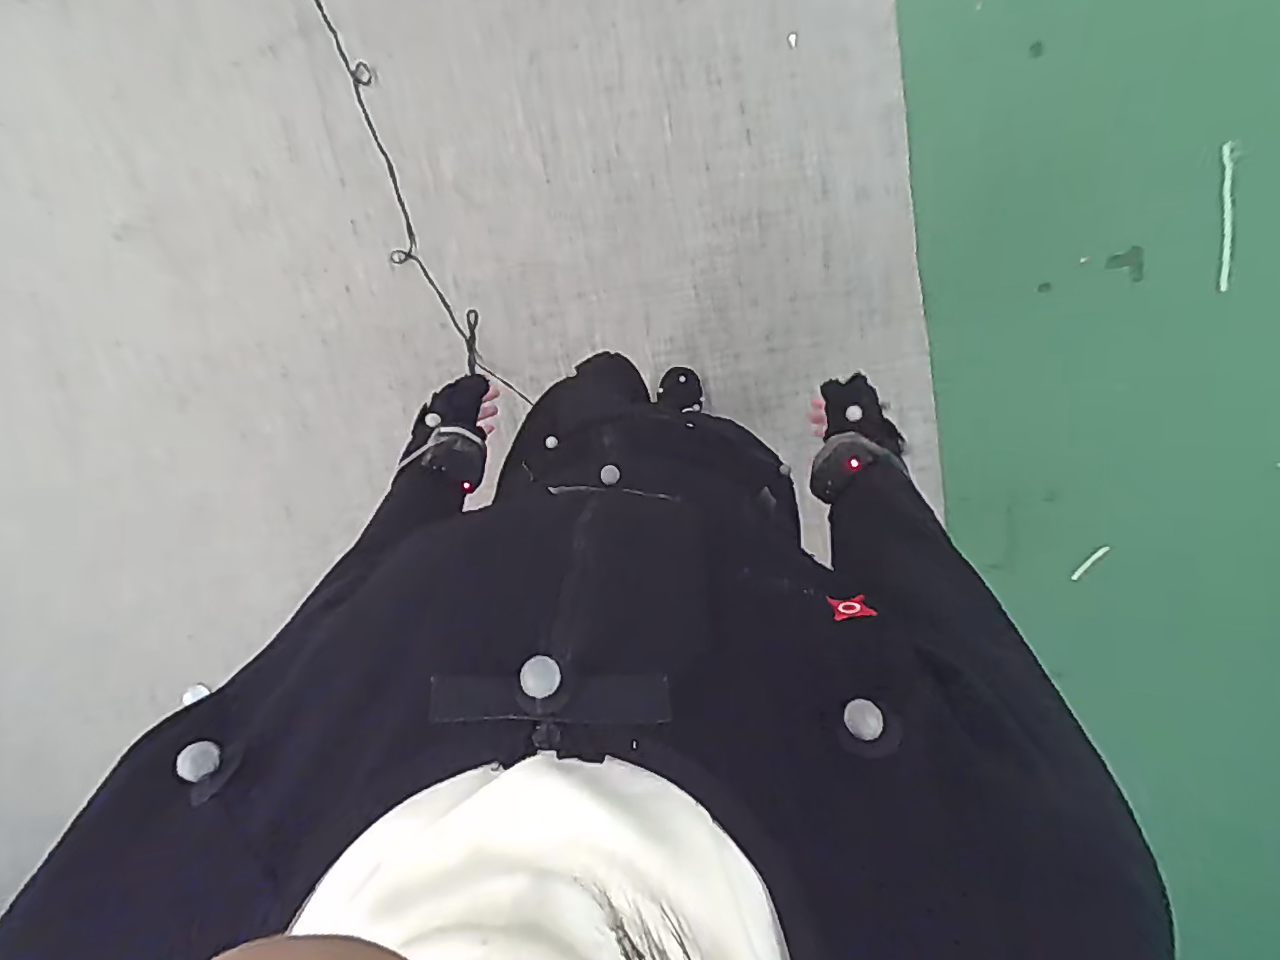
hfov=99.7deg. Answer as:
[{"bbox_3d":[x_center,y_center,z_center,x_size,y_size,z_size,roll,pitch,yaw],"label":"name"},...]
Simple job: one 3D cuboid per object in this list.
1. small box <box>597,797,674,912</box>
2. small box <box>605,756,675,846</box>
[{"bbox_3d":[-0.005,0.961,1.396,0.168,0.176,0.179,-9,99,5],"label":"small box"},{"bbox_3d":[0.007,0.920,1.552,0.179,0.176,0.168,-7,101,7],"label":"small box"}]
